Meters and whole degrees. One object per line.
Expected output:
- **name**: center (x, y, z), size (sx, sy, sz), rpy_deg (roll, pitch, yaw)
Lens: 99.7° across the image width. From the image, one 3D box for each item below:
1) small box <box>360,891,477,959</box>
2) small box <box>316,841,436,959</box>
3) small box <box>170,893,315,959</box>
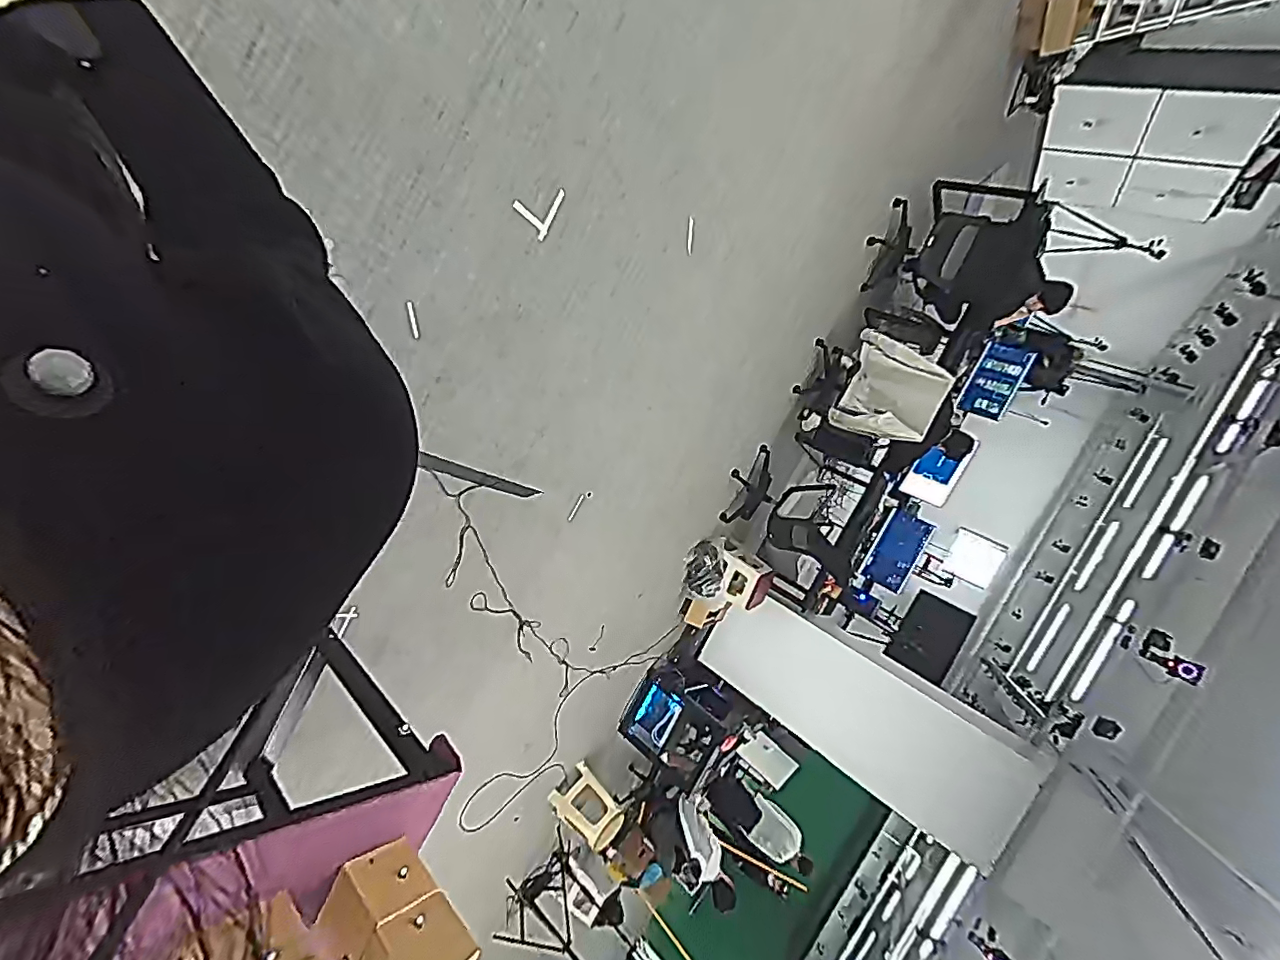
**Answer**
- **small box**: center (-0.505, 1.076, 1.197), size (0.179, 0.176, 0.168), rpy_deg (14, 105, -57)
- **small box**: center (-0.626, 0.998, 1.275), size (0.168, 0.176, 0.179), rpy_deg (17, 102, -58)
- **small box**: center (-0.768, 0.943, 1.023), size (0.179, 0.176, 0.168), rpy_deg (20, 99, -58)
